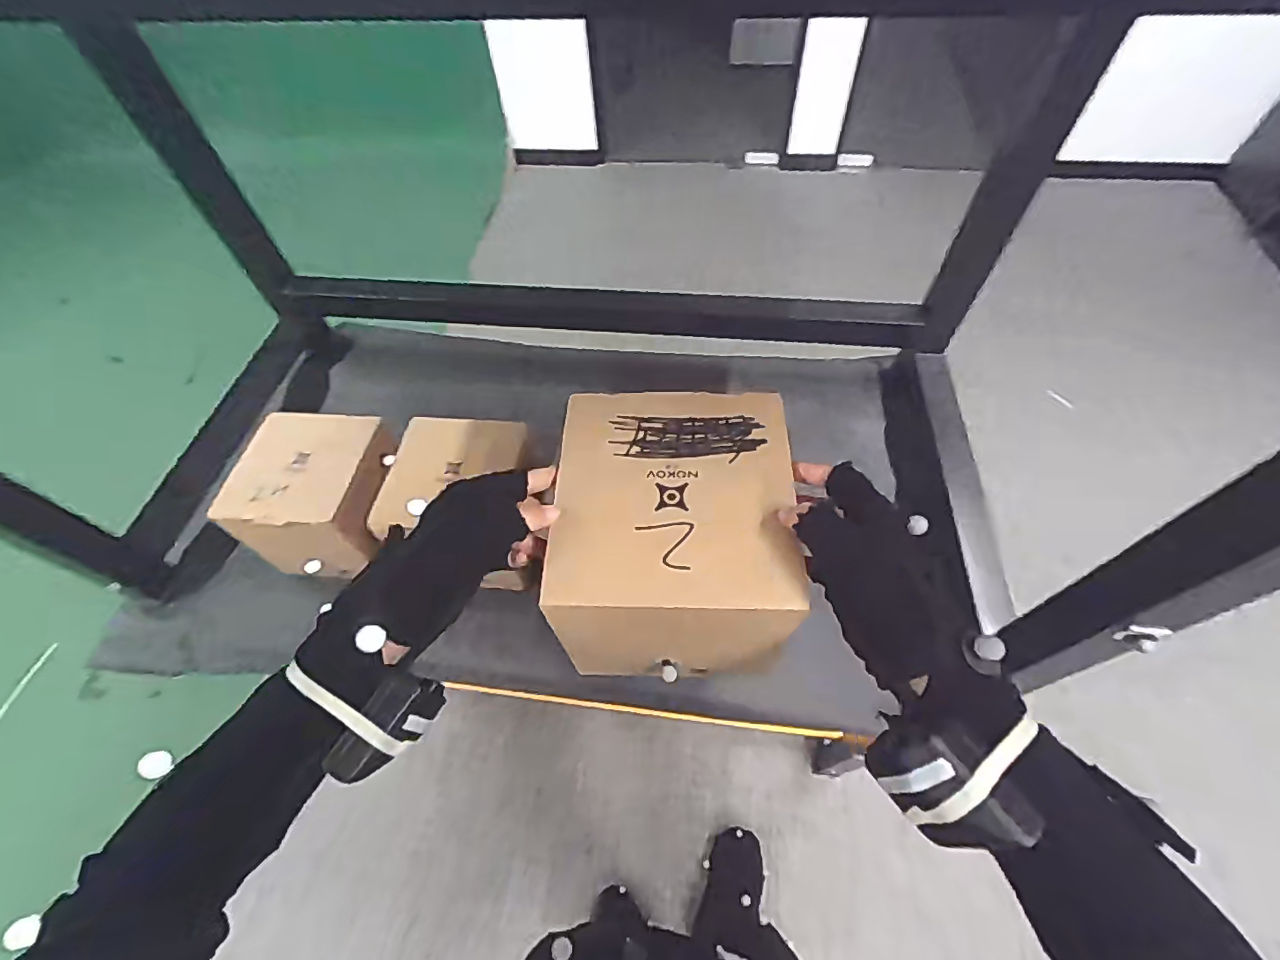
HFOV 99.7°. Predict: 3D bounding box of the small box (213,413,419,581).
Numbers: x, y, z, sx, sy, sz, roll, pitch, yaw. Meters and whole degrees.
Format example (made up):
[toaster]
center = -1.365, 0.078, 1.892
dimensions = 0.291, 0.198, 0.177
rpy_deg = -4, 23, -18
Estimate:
[small box]
center = -0.444, 0.027, 0.780
dimensions = 0.168, 0.176, 0.179
rpy_deg = 3, 56, 5
